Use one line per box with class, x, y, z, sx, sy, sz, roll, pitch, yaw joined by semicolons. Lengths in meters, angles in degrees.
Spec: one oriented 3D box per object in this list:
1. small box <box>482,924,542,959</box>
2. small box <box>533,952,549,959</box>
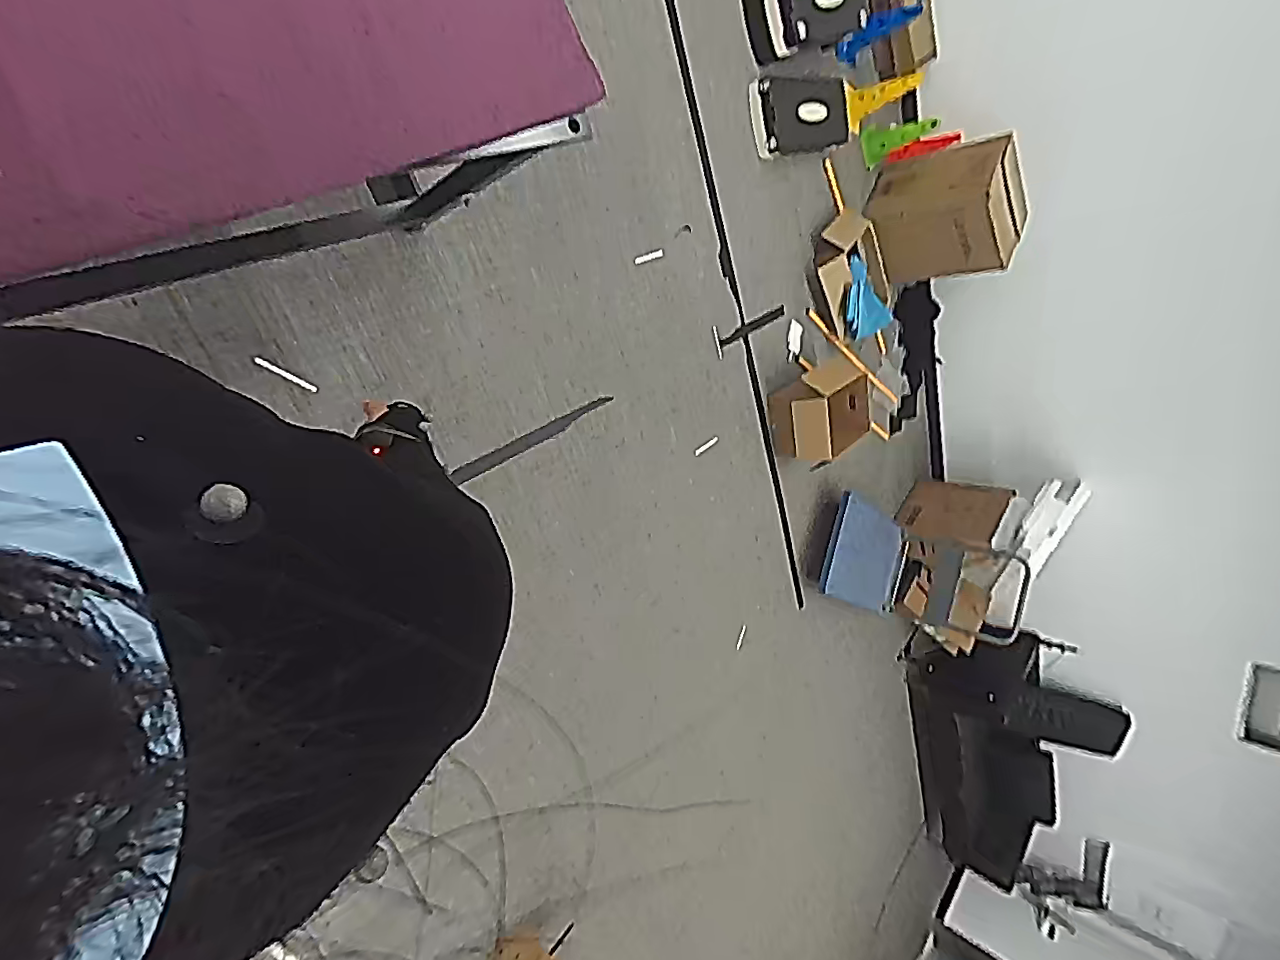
small box;-0.423;1.697;1.867;0.168;0.176;0.179;-32;117;-35
small box;-0.311;1.704;1.749;0.179;0.176;0.168;-41;122;-32
